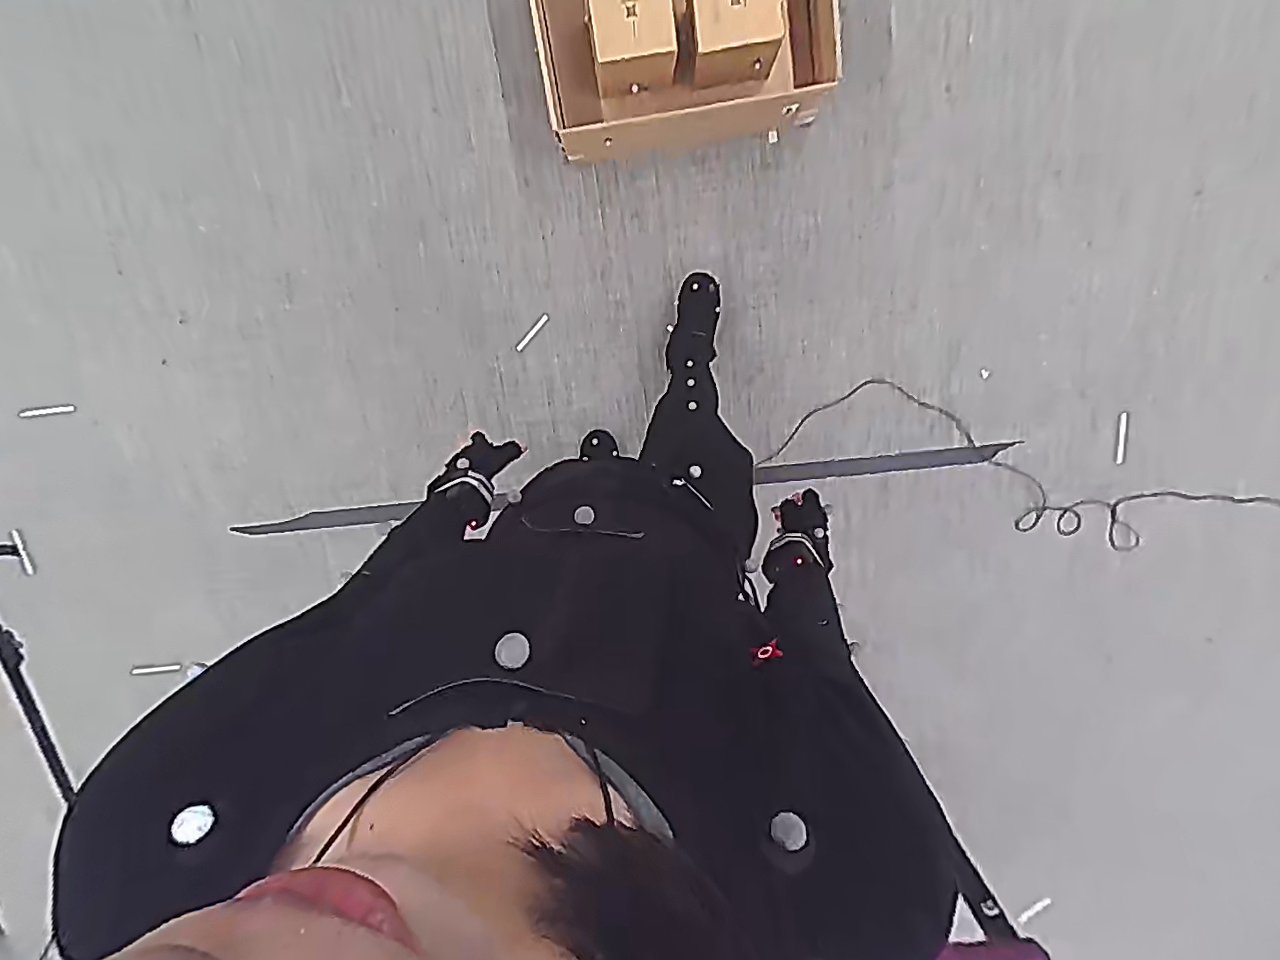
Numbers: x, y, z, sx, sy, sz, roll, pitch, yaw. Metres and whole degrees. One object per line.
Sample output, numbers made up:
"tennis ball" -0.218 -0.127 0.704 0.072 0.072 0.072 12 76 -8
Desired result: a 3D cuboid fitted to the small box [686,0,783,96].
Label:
"small box" 0.197 -0.963 1.159 0.179 0.176 0.168 -7 102 4
